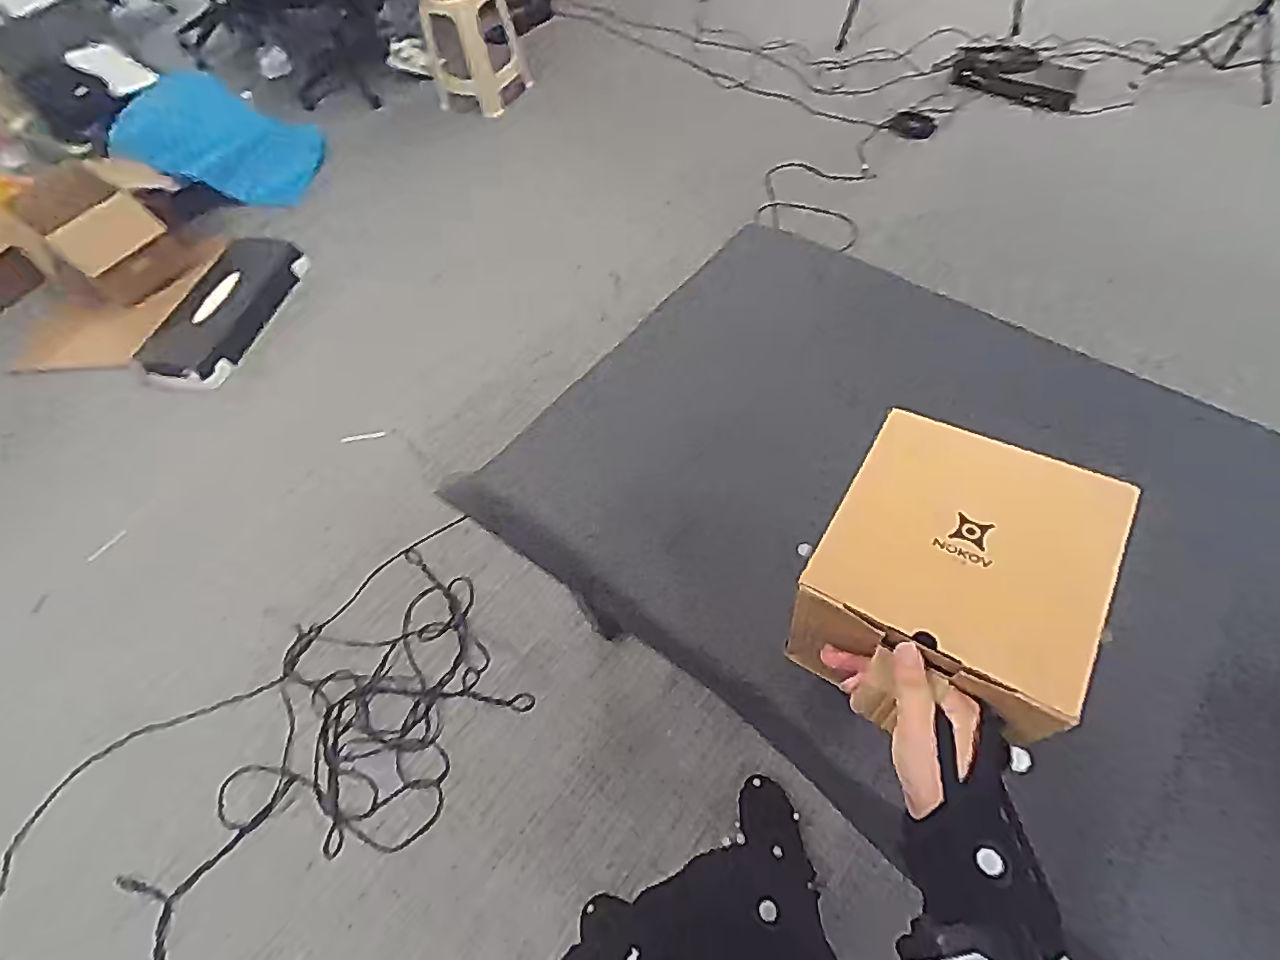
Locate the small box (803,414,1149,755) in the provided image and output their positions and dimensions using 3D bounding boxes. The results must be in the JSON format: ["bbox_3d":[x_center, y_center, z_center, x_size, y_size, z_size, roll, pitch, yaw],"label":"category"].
[{"bbox_3d":[0.243,0.086,0.431,0.168,0.176,0.179,26,65,25],"label":"small box"}]
